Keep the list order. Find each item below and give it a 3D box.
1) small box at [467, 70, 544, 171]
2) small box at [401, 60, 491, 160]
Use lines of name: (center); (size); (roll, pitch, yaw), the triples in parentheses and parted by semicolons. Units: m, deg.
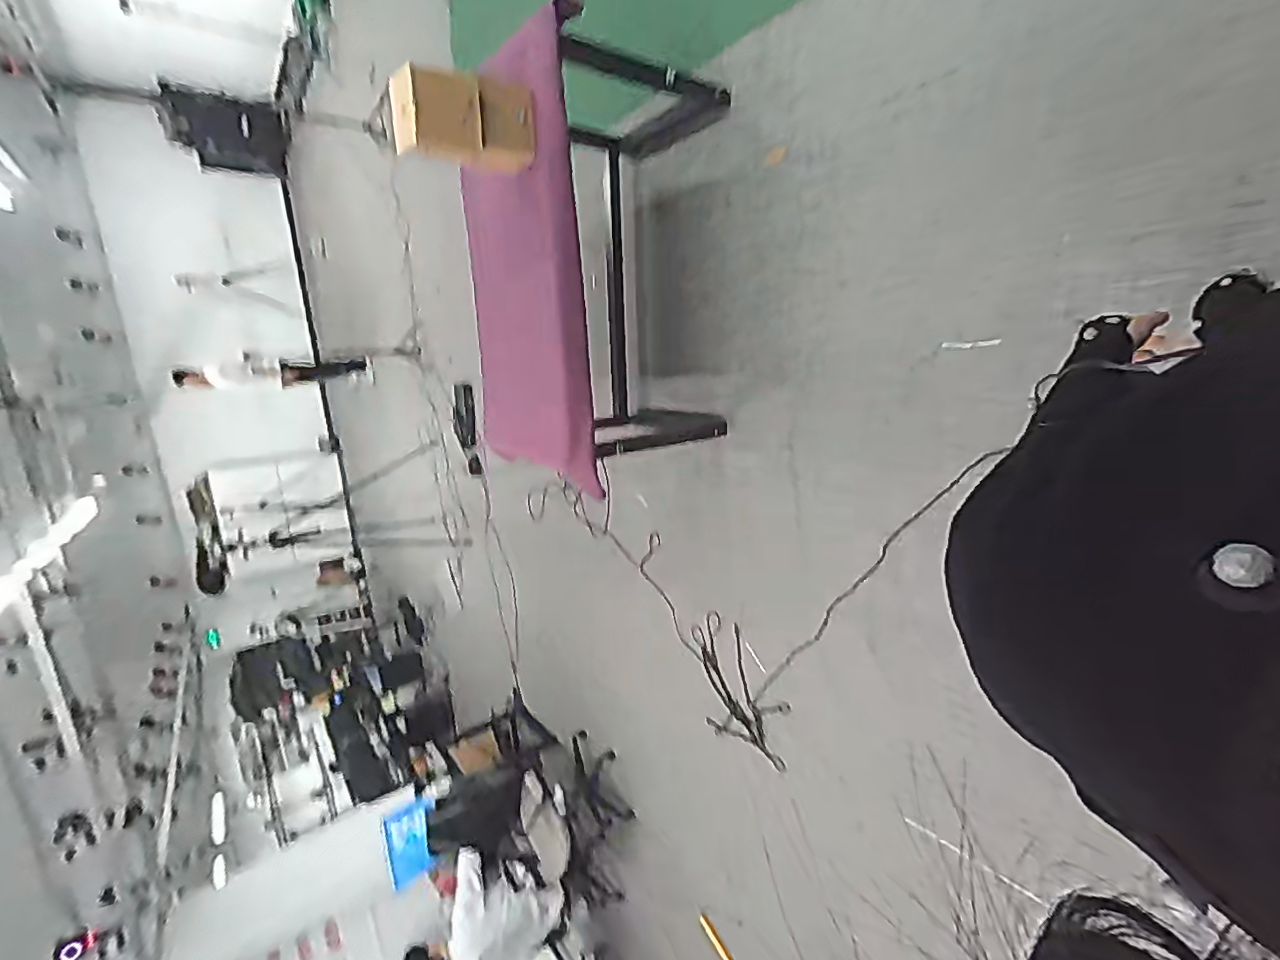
small box: (-0.377, -0.980, 1.491); (0.168, 0.176, 0.179); (15, 112, 53)
small box: (-0.495, -0.936, 1.385); (0.179, 0.176, 0.168); (25, 120, 48)
